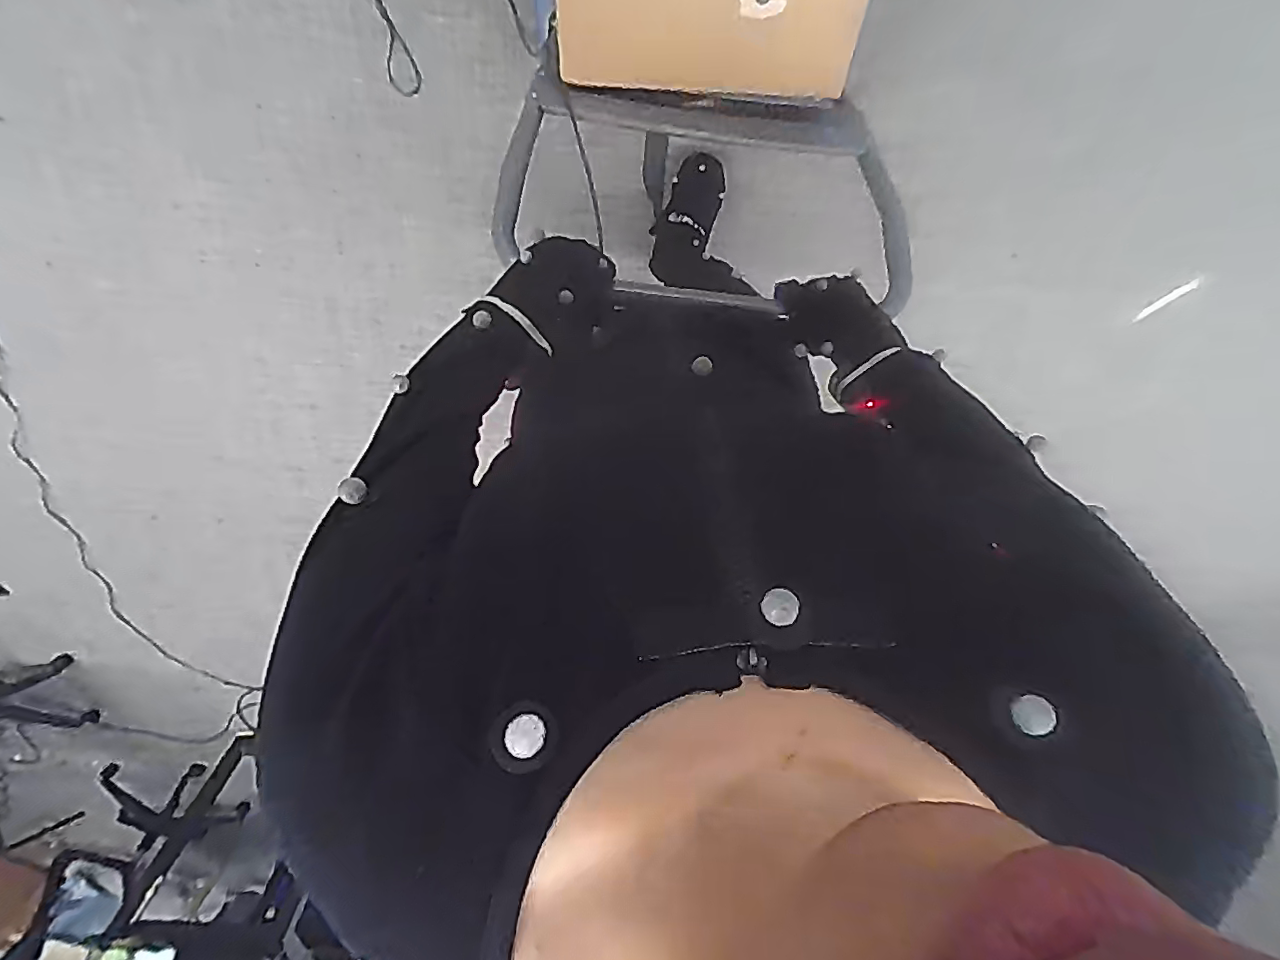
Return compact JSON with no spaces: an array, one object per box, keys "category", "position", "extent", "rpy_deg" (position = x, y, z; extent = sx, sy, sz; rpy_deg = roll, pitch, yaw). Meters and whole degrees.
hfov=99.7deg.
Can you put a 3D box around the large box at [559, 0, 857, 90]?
[{"category":"large box","position":[0.091,-0.786,0.765],"extent":[0.408,0.320,0.320],"rpy_deg":[2,142,-1]}]
